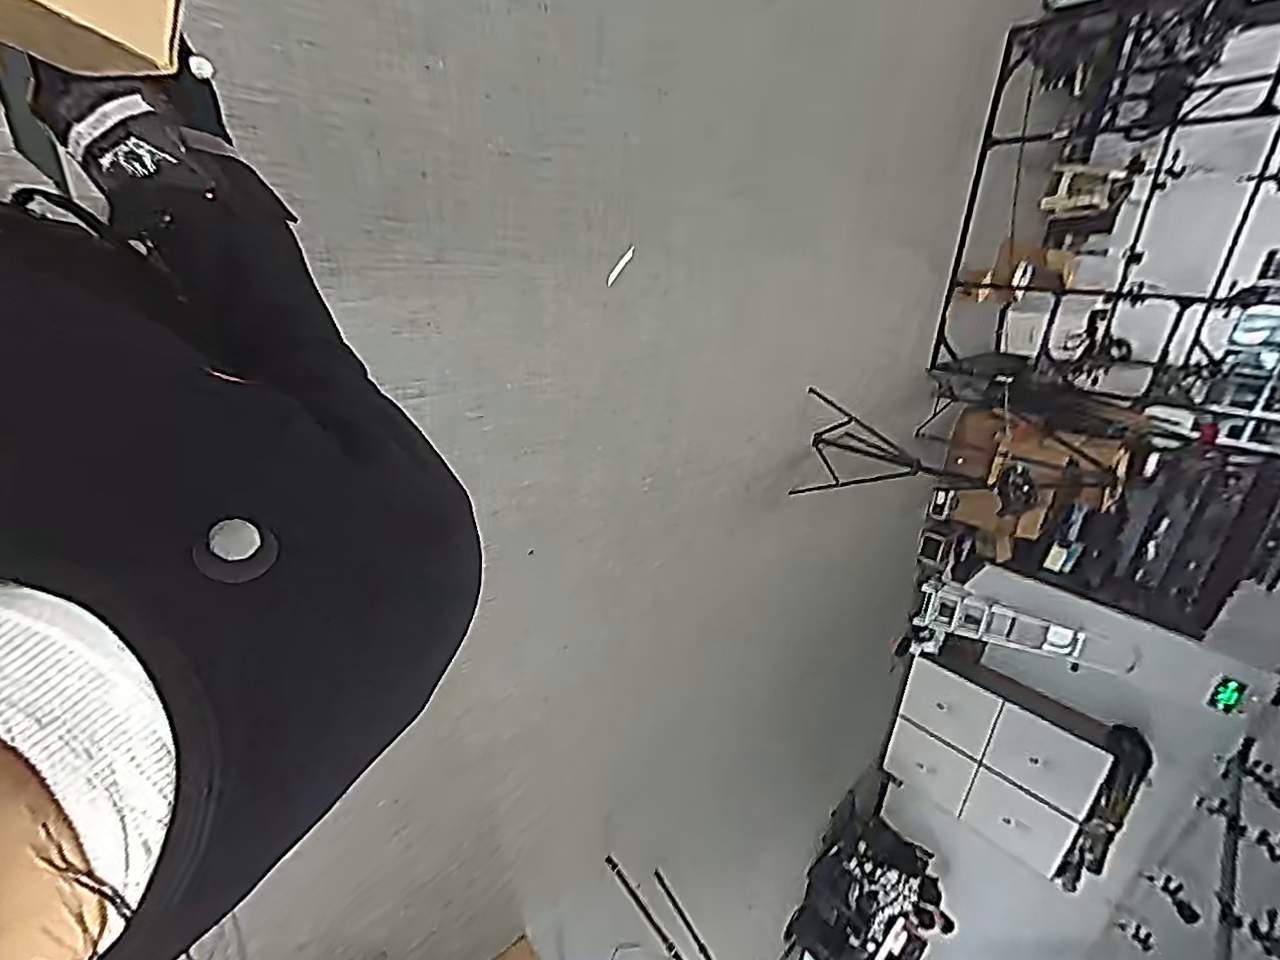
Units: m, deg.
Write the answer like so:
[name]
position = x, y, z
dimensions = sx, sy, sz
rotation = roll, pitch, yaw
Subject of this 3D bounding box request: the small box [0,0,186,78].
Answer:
[small box]
position = -0.270, -0.272, 0.171
dimensions = 0.176, 0.168, 0.179
rotation = 1, 111, -56
